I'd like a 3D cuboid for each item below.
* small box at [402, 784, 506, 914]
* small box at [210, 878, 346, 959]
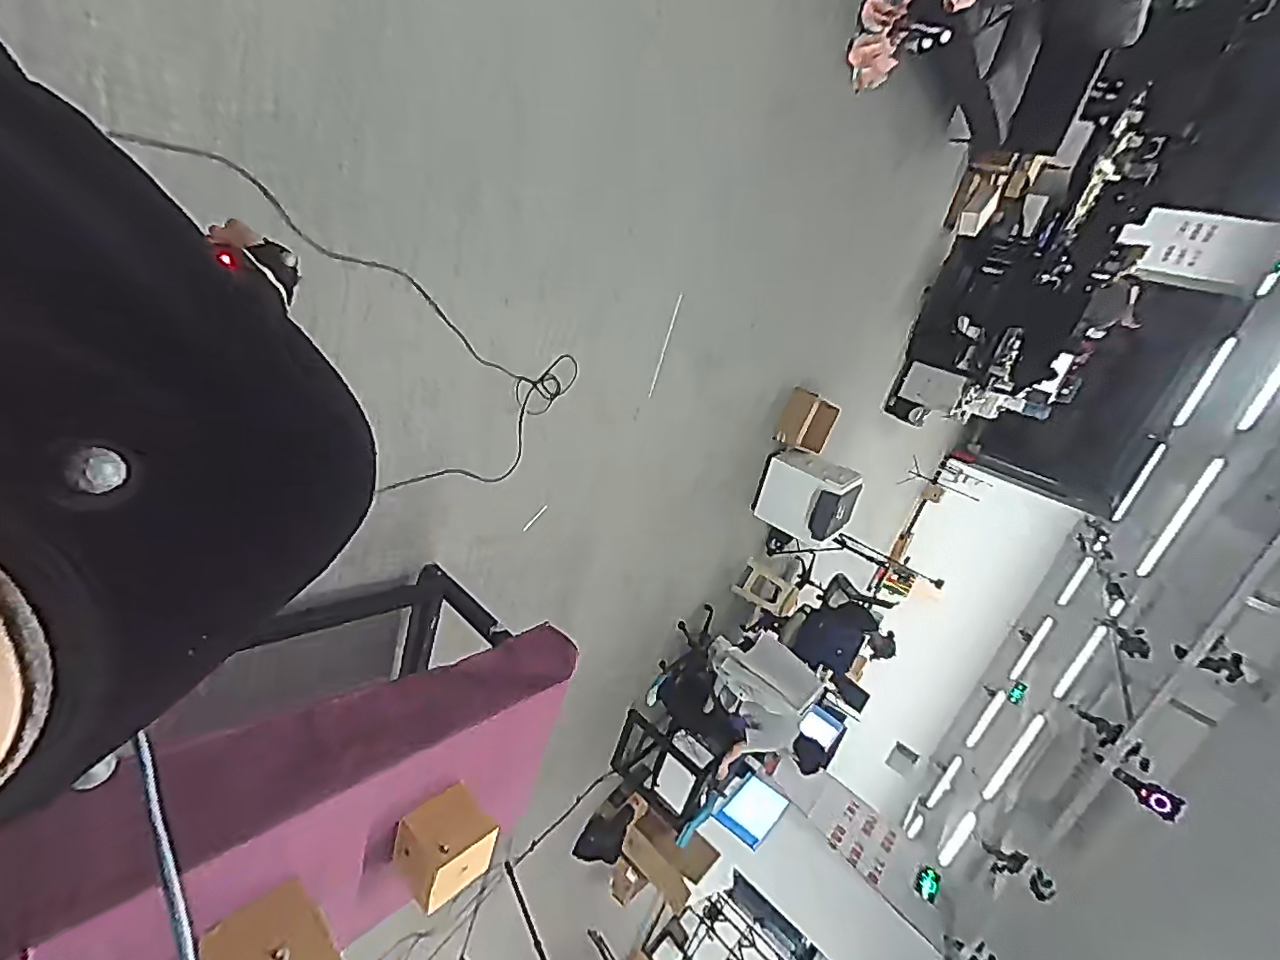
[{"bbox_3d":[-0.471,0.918,1.367,0.179,0.176,0.168,-9,122,-50],"label":"small box"},{"bbox_3d":[-0.711,0.944,1.058,0.179,0.176,0.168,-7,119,-51],"label":"small box"}]
